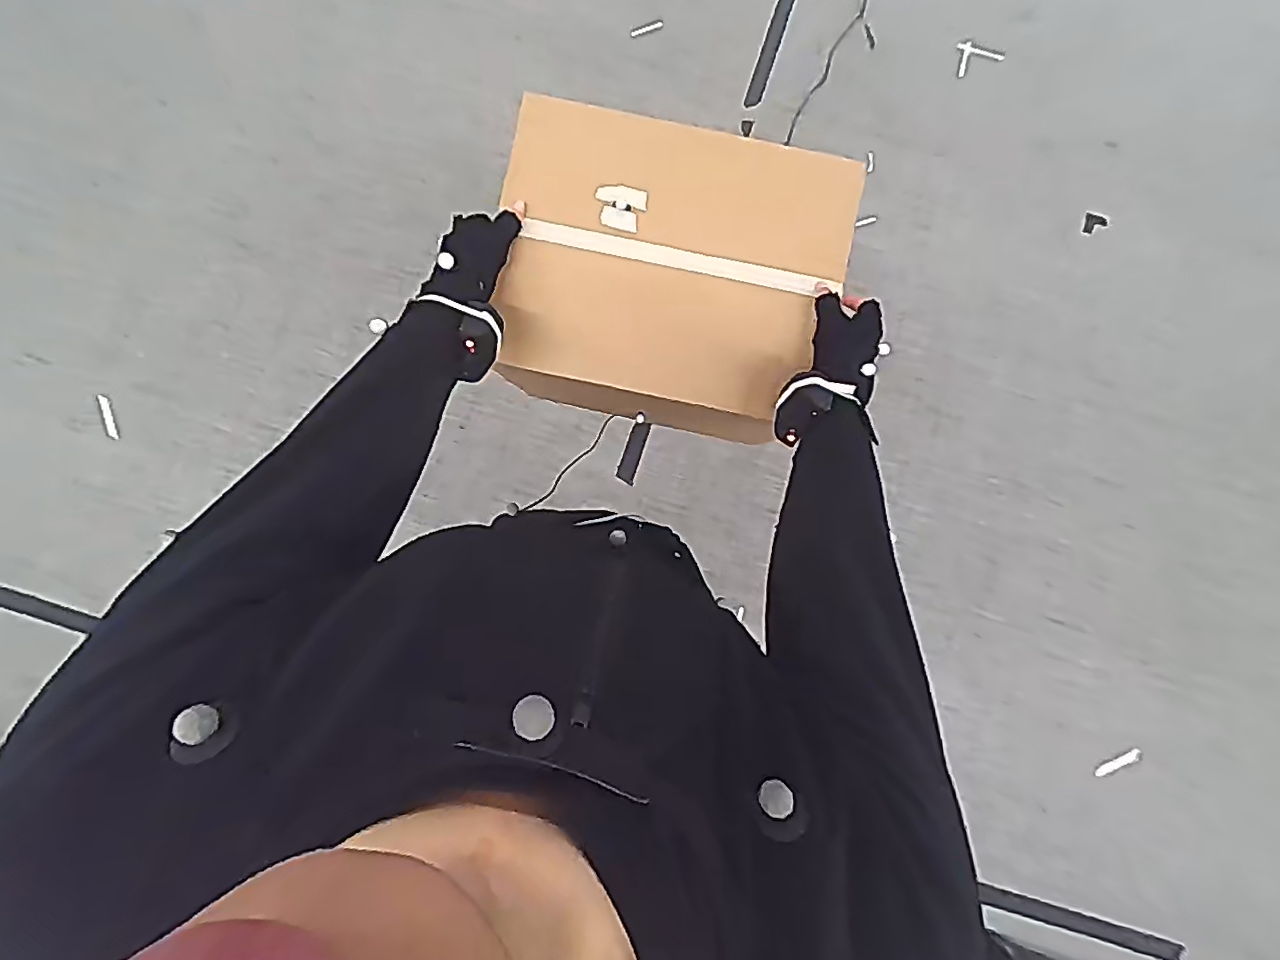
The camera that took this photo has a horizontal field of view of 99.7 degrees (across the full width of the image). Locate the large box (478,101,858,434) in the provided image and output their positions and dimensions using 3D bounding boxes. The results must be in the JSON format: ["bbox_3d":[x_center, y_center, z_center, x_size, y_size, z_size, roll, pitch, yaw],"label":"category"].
[{"bbox_3d":[0.036,-0.259,0.779,0.408,0.320,0.320,12,90,1],"label":"large box"}]
